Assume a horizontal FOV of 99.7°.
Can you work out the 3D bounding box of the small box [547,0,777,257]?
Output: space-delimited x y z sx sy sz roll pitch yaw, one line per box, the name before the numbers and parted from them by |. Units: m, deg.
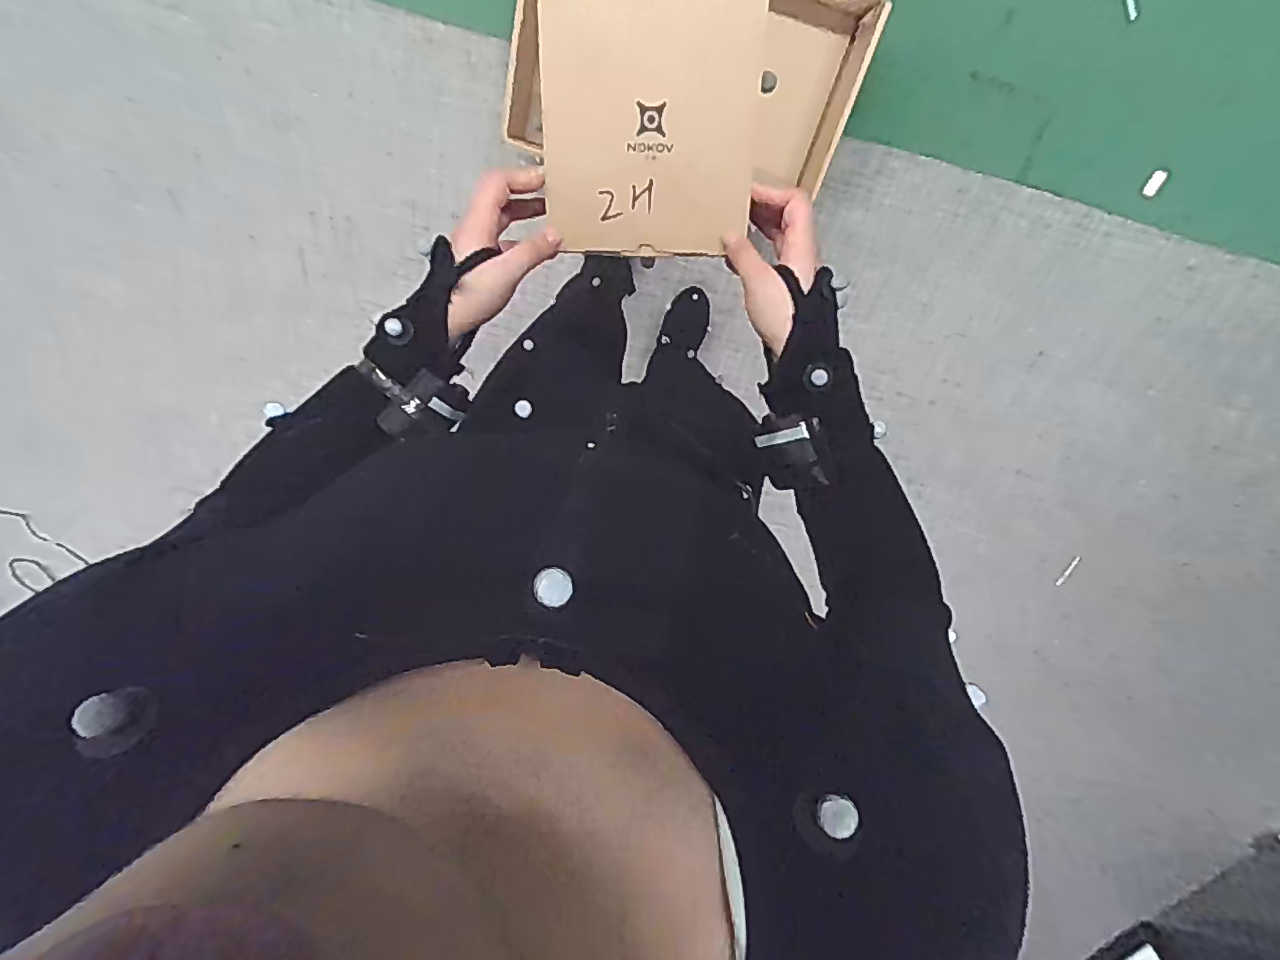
small box | 0.013 -0.298 0.483 0.168 0.176 0.179 2 115 1
